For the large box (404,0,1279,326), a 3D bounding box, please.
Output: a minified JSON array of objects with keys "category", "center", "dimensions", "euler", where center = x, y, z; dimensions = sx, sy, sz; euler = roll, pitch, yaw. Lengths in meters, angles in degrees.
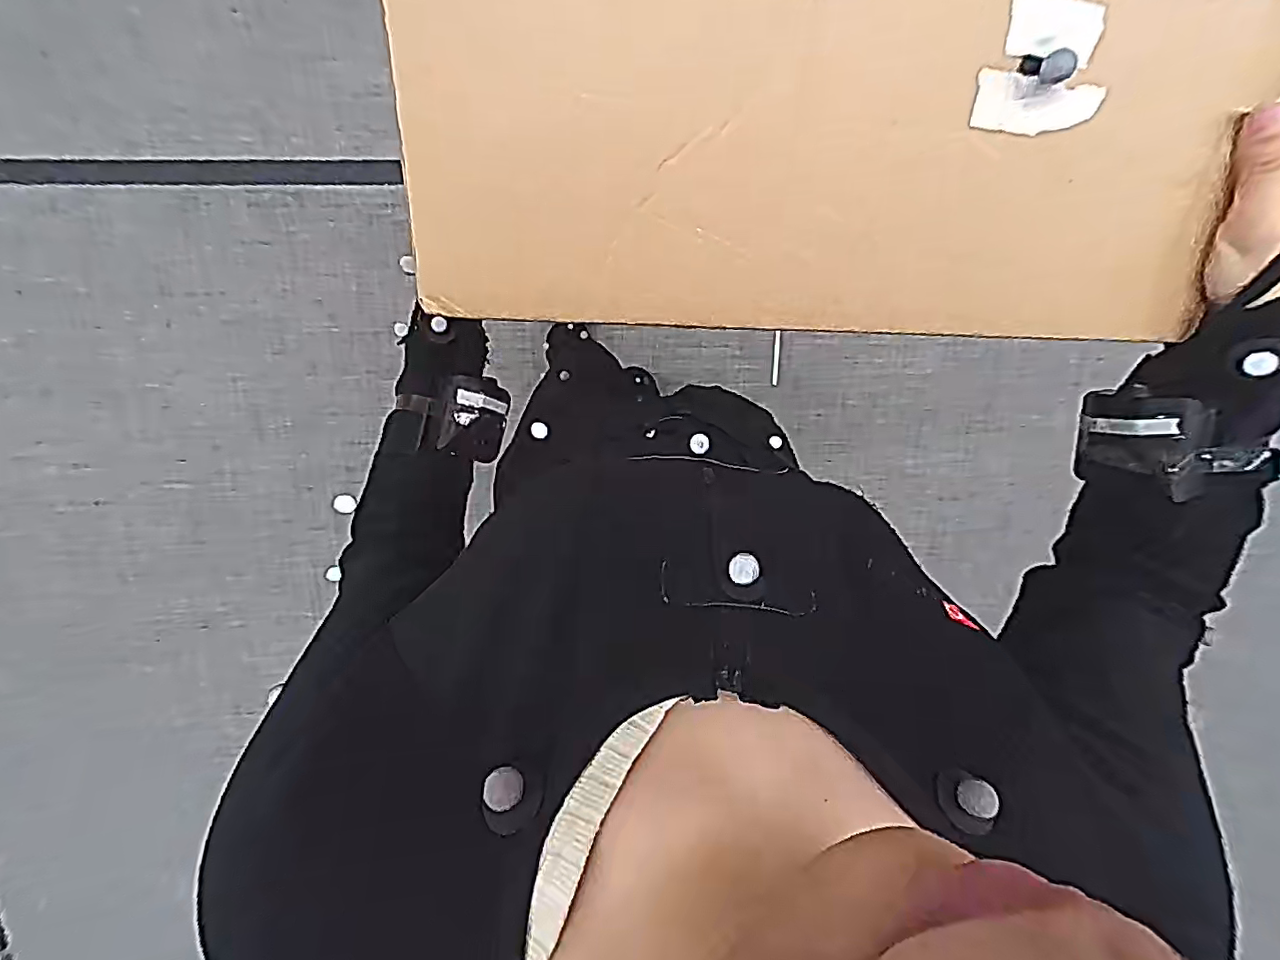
[{"category":"large box","center":[0.084,-0.284,0.356],"dimensions":[0.408,0.320,0.320],"euler":[-1,116,-8]}]
